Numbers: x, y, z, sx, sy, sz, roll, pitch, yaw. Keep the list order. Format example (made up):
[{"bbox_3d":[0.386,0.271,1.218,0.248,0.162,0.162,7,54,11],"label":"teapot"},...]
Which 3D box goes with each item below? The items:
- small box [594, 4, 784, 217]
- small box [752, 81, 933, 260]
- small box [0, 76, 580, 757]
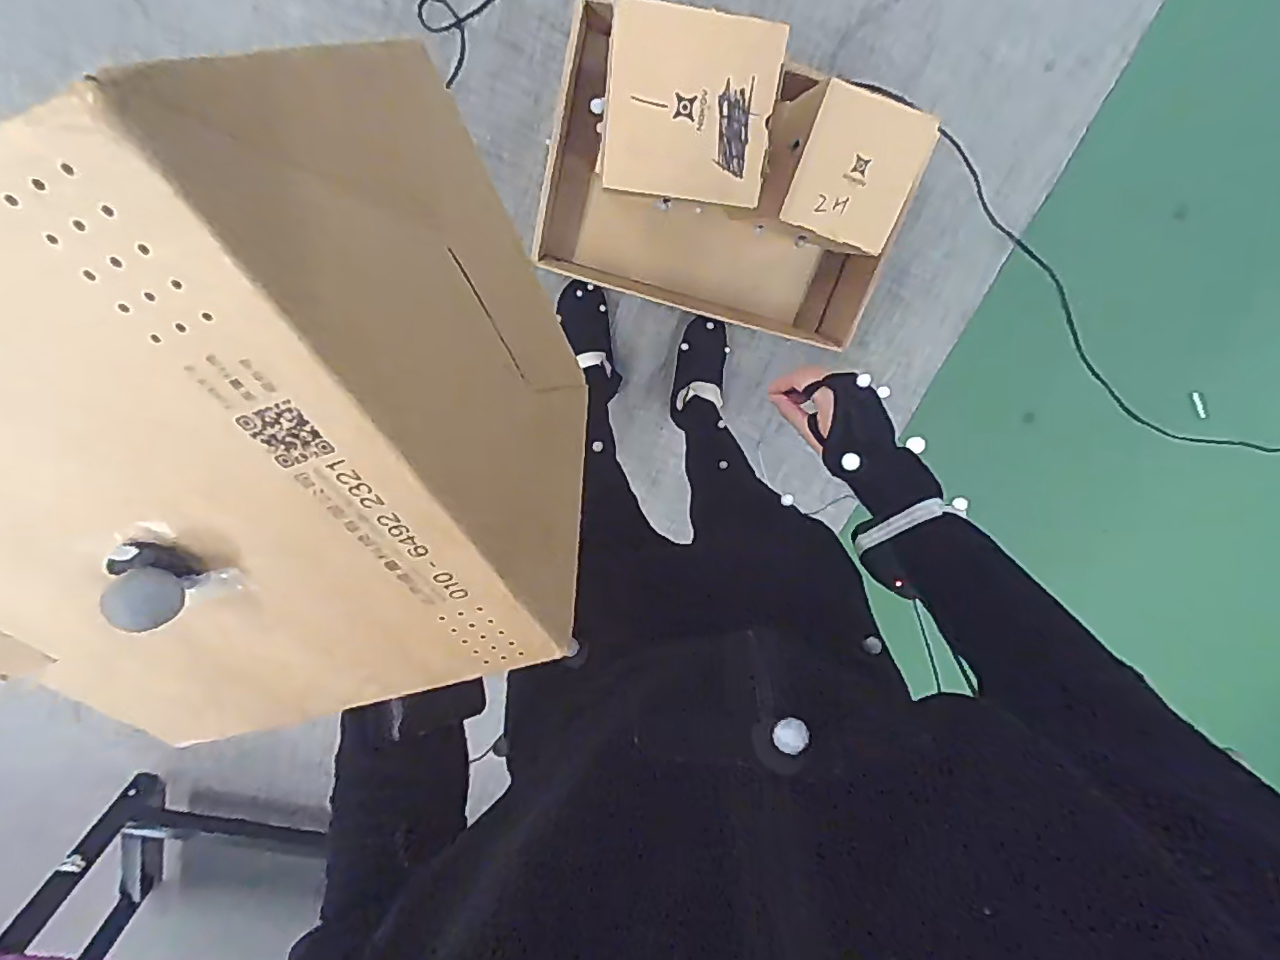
[{"bbox_3d":[0.041,-0.410,0.629,0.179,0.176,0.168,4,116,-7],"label":"small box"},{"bbox_3d":[0.285,-0.449,0.809,0.168,0.176,0.179,15,114,-10],"label":"small box"},{"bbox_3d":[-0.134,-0.024,0.211,0.176,0.179,0.168,-16,130,13],"label":"small box"}]
